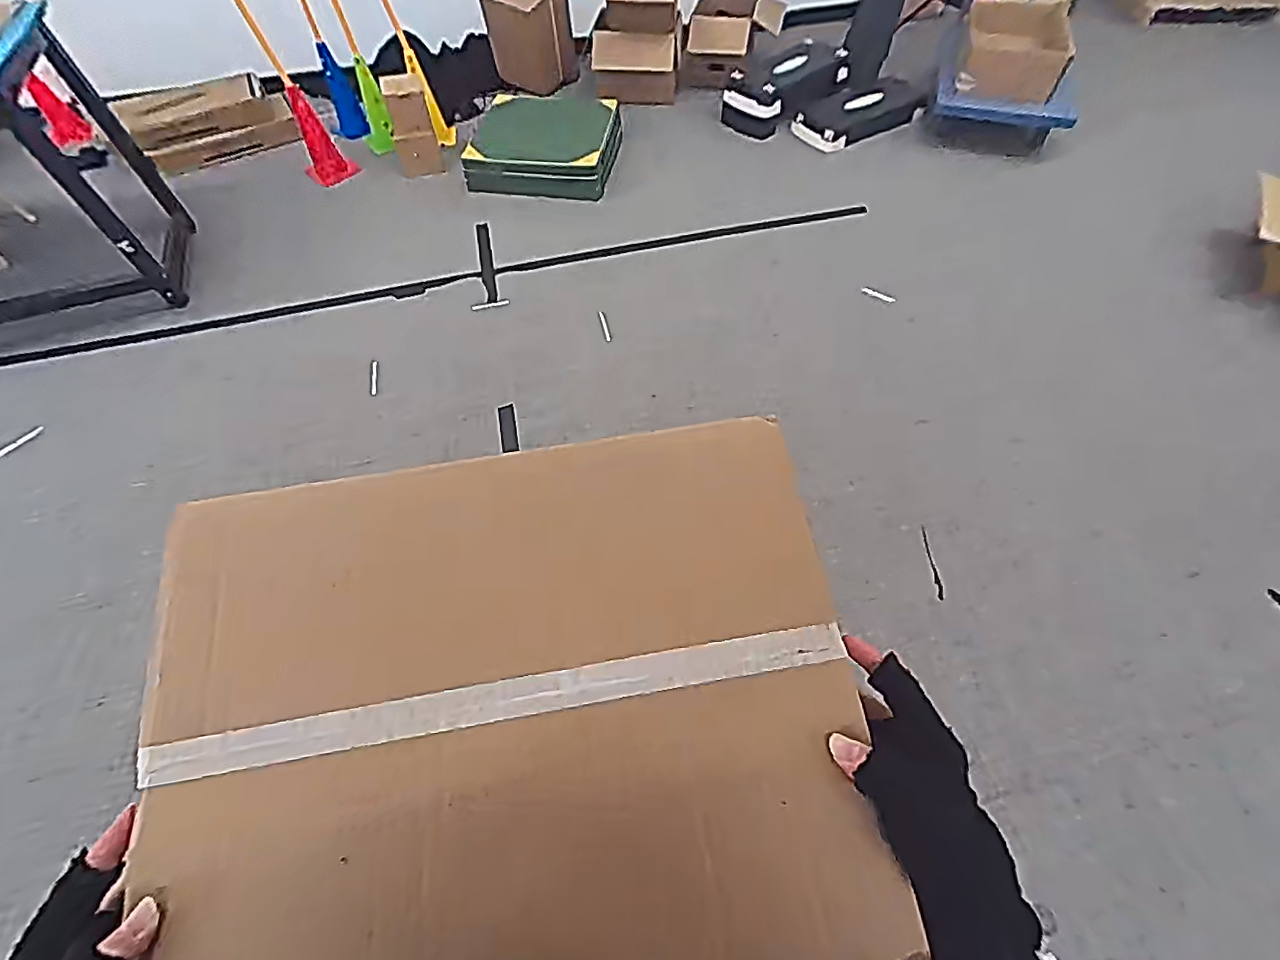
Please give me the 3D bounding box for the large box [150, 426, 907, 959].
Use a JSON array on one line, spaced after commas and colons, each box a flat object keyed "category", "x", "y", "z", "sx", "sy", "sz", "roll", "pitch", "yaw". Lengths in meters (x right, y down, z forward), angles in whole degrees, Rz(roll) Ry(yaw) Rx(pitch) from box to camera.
[{"category": "large box", "x": -0.077, "y": 0.186, "z": 0.466, "sx": 0.408, "sy": 0.320, "sz": 0.320, "roll": -9, "pitch": 70, "yaw": -3}]
